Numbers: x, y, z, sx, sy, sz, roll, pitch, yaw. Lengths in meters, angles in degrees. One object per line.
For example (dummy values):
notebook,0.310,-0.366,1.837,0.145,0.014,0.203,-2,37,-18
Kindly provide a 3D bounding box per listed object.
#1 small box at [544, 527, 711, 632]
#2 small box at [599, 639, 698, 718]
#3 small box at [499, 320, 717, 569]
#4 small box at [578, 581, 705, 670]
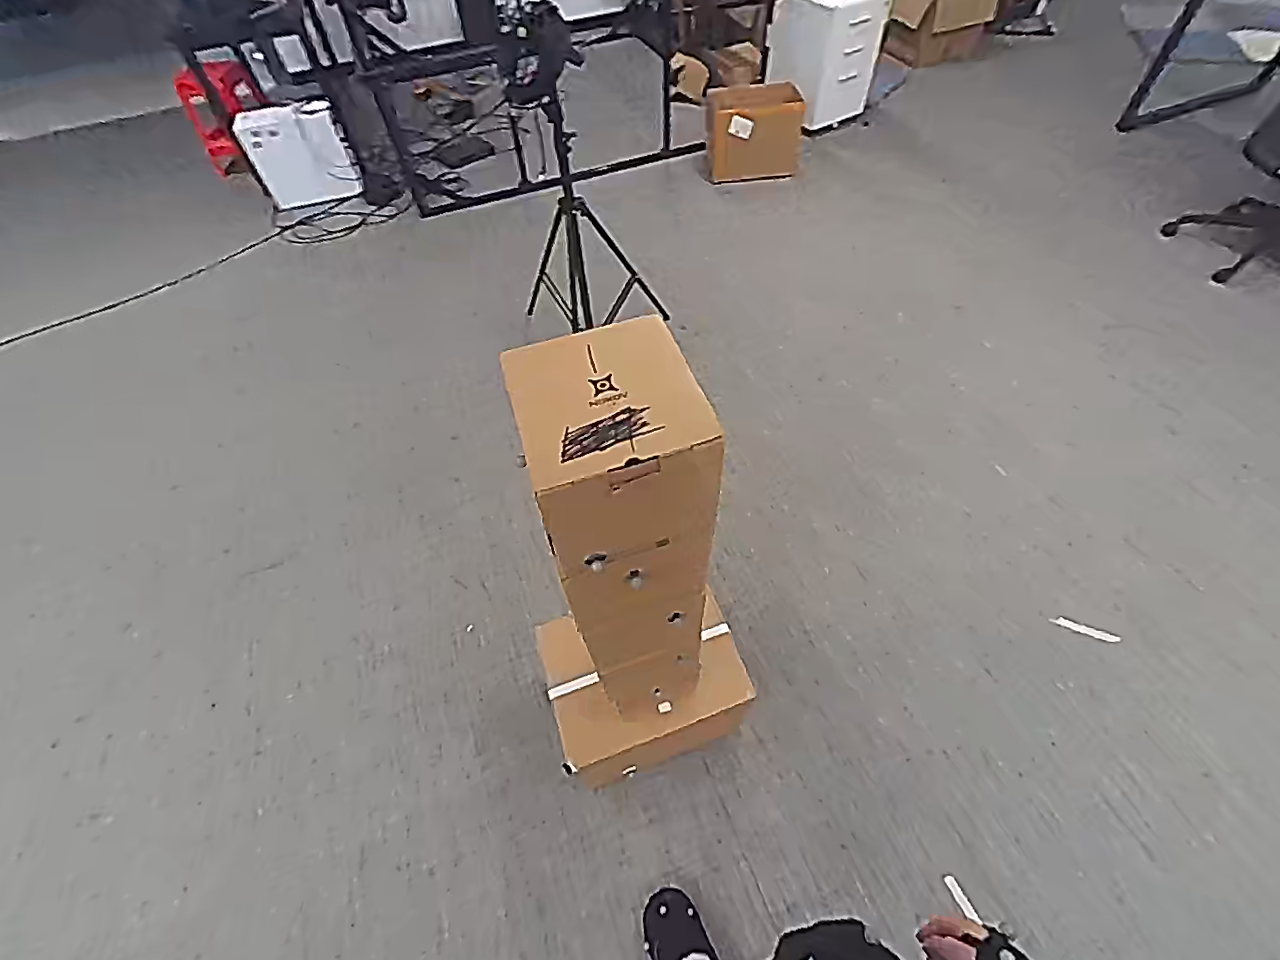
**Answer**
small box,-0.025,0.069,0.687,0.179,0.176,0.168,-17,56,-8
small box,0.002,0.355,1.085,0.179,0.176,0.168,-19,57,-11
small box,-0.030,-0.027,0.554,0.168,0.176,0.179,-17,55,-8
small box,-0.016,0.163,0.818,0.179,0.176,0.168,-17,55,-8
